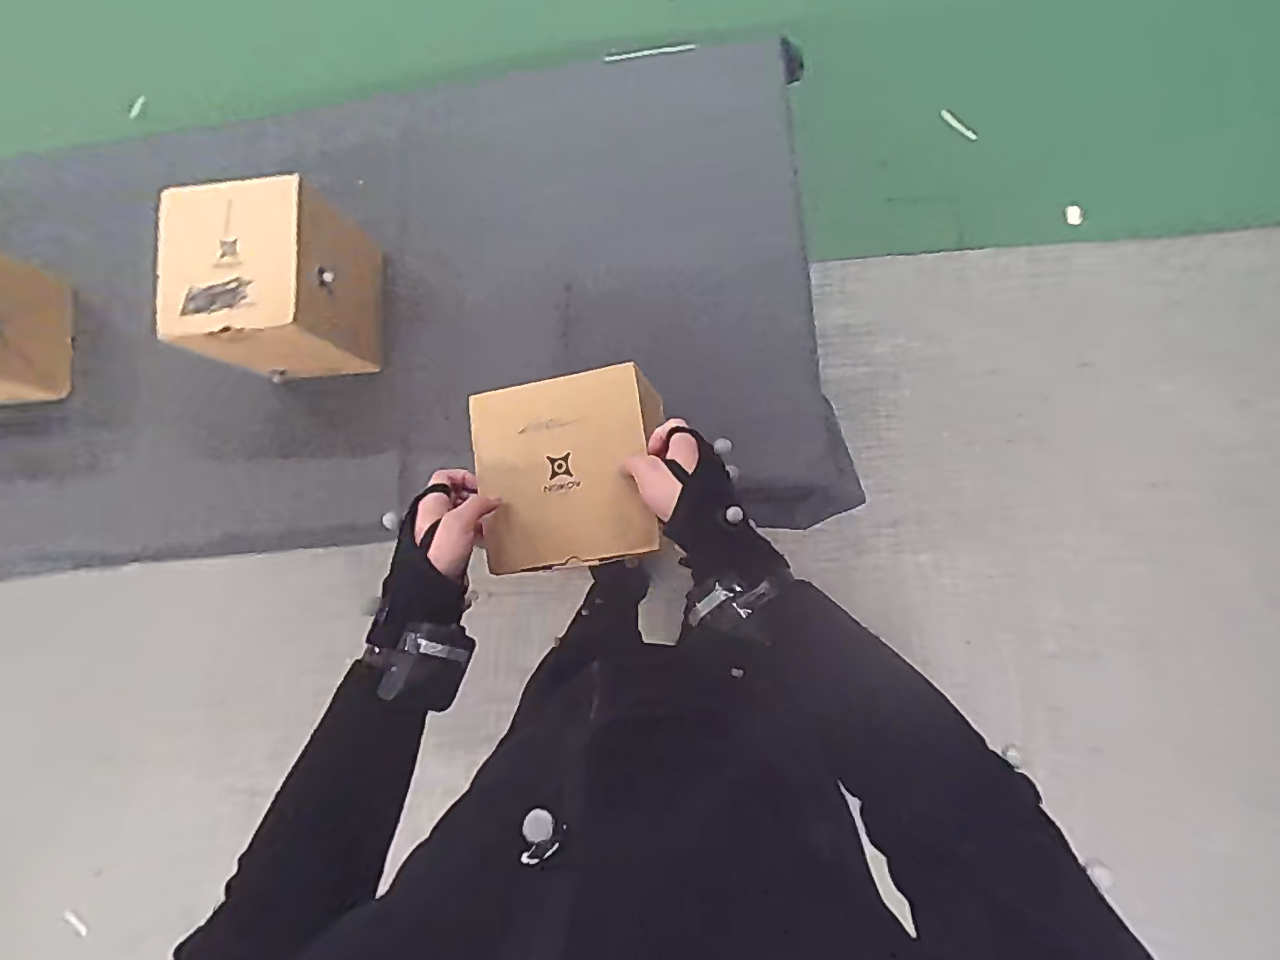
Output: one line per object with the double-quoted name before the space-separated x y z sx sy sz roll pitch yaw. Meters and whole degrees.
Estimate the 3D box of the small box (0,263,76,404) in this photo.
"small box" -0.912 -0.199 0.718 0.168 0.176 0.179 -5 86 4

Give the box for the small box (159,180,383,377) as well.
"small box" -0.441 -0.233 0.673 0.168 0.176 0.179 -3 84 6
